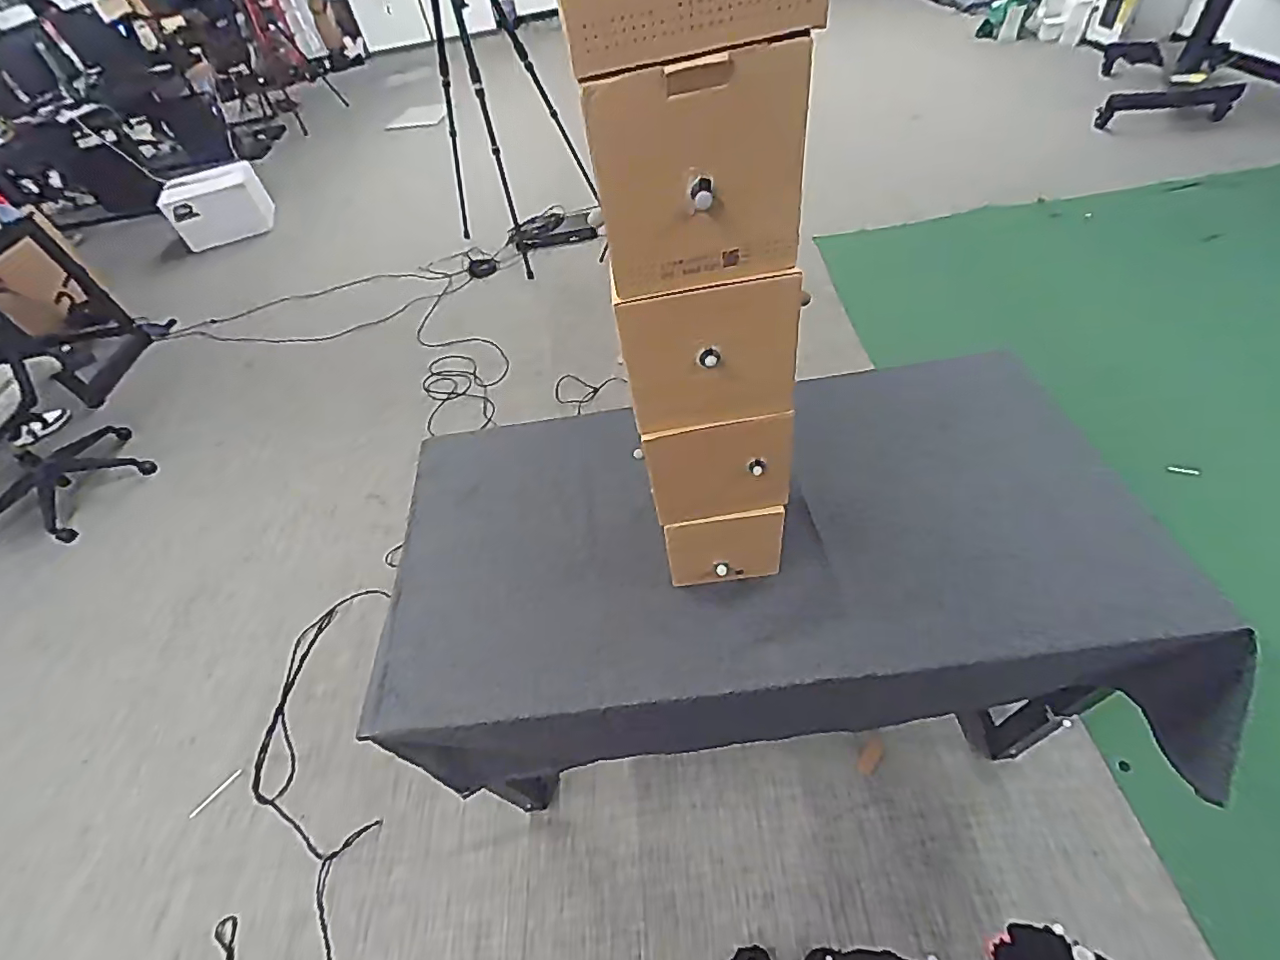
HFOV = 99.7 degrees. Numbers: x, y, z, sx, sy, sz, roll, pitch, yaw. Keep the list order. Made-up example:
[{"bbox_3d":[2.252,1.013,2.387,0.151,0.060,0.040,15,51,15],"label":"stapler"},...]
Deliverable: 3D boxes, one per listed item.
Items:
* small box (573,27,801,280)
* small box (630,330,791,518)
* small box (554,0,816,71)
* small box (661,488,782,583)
[{"bbox_3d":[0.039,-0.298,0.490,0.168,0.176,0.179,-9,48,3],"label":"small box"},{"bbox_3d":[0.088,-0.070,0.719,0.179,0.176,0.168,-10,48,3],"label":"small box"},{"bbox_3d":[0.019,-0.405,0.365,0.179,0.176,0.168,-9,48,4],"label":"small box"},{"bbox_3d":[0.115,0.037,0.839,0.168,0.176,0.179,-8,49,4],"label":"small box"}]
